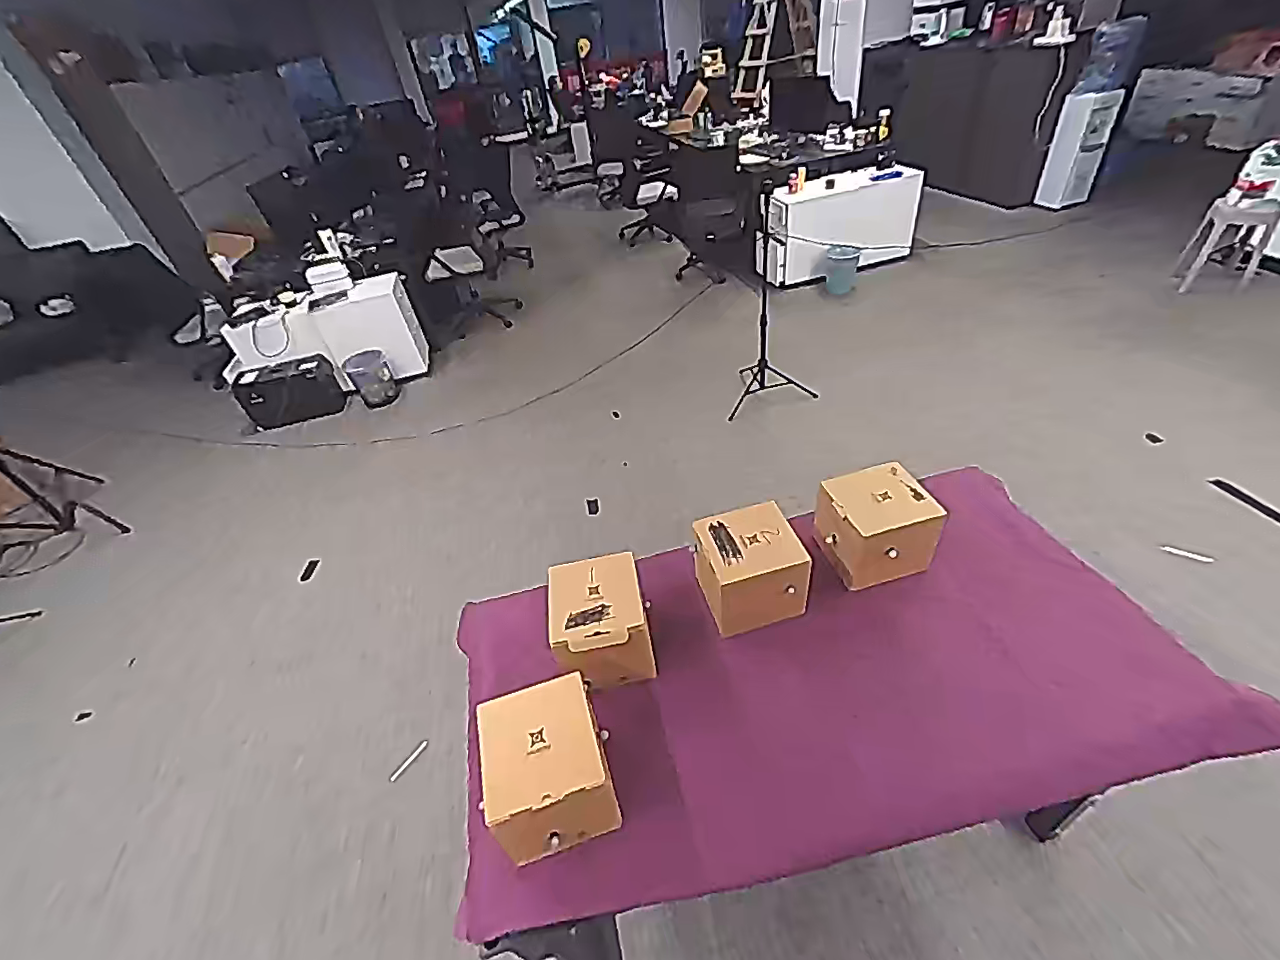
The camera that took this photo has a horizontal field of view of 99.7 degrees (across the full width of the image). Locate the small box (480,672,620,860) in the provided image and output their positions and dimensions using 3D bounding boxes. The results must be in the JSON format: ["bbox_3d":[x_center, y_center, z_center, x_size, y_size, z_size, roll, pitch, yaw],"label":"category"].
[{"bbox_3d":[-0.136,0.433,0.825,0.168,0.176,0.179,-16,41,-10],"label":"small box"}]

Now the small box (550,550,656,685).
[{"bbox_3d":[-0.069,0.263,1.012,0.168,0.176,0.179,-11,40,-2],"label":"small box"}]
